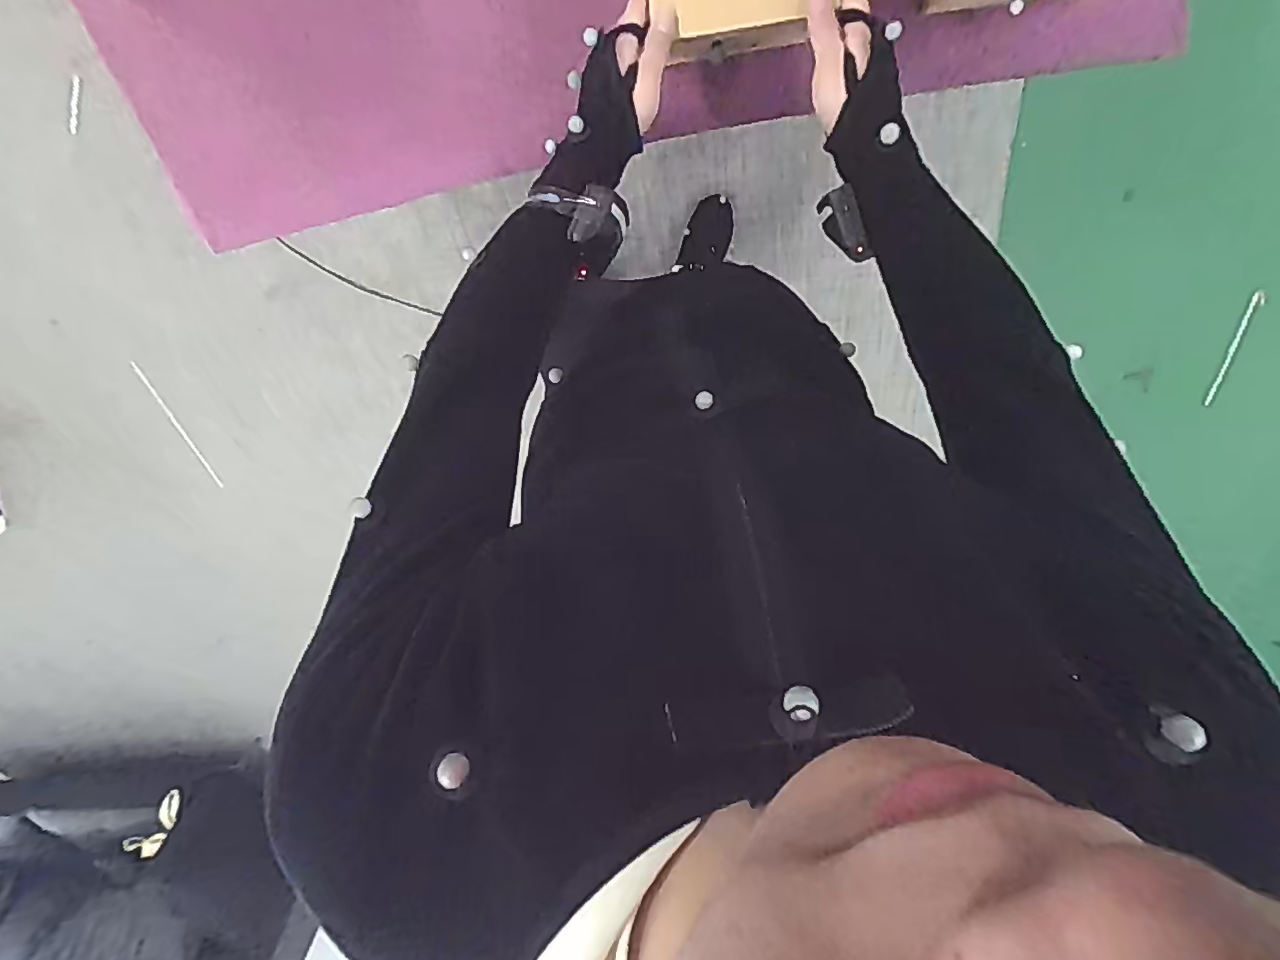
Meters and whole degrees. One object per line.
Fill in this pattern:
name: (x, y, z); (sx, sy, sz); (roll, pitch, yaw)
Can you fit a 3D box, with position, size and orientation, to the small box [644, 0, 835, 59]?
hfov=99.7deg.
small box: (0.087, -0.512, 0.499); (0.168, 0.176, 0.179); (-3, 120, 9)
